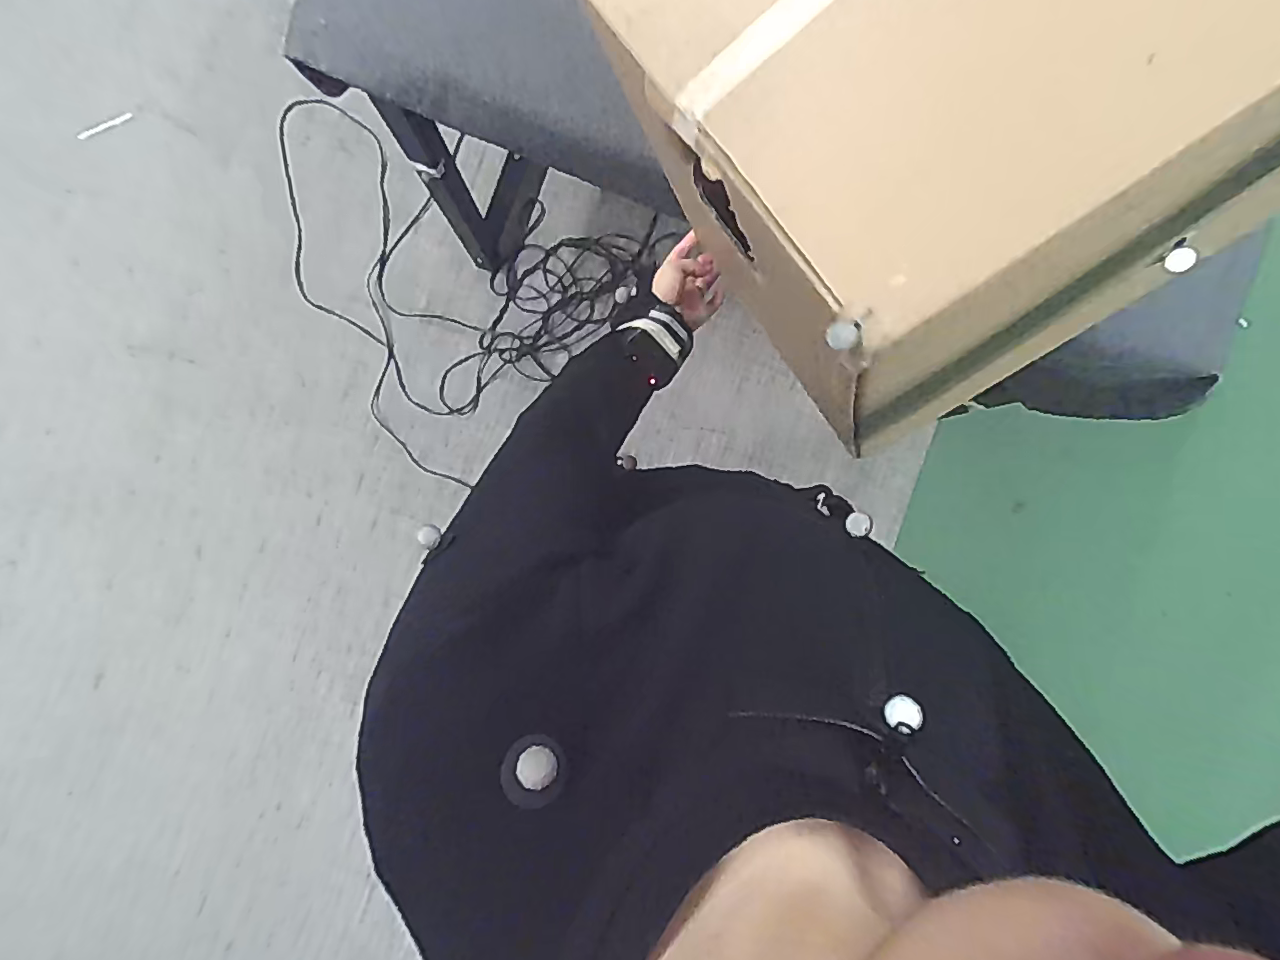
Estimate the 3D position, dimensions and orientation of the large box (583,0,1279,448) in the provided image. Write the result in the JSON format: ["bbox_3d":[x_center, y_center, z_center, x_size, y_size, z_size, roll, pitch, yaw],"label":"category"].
[{"bbox_3d":[0.247,-0.276,0.377,0.408,0.320,0.320,-36,71,15],"label":"large box"}]
